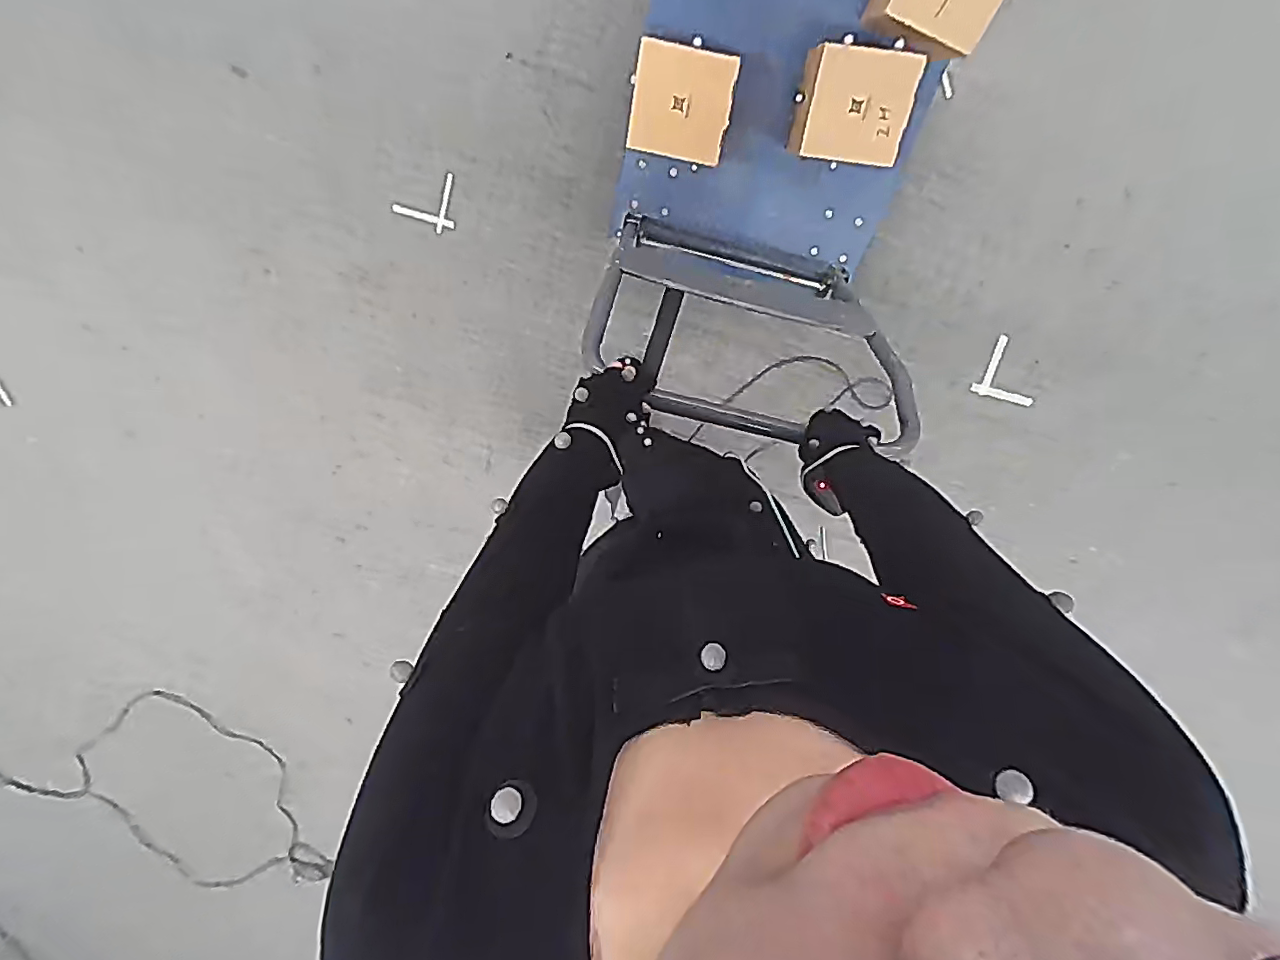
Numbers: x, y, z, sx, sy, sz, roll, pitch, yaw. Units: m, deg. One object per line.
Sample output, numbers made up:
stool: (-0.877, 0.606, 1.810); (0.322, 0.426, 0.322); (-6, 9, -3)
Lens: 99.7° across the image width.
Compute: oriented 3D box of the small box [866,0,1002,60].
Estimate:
small box: (0.505, -0.836, 0.897); (0.168, 0.176, 0.179); (20, 125, -8)

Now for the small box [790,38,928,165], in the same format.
small box: (0.389, -0.697, 1.004); (0.179, 0.176, 0.168); (8, 125, 0)

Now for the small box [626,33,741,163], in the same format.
small box: (0.077, -0.715, 1.023); (0.179, 0.176, 0.168); (10, 125, -3)
